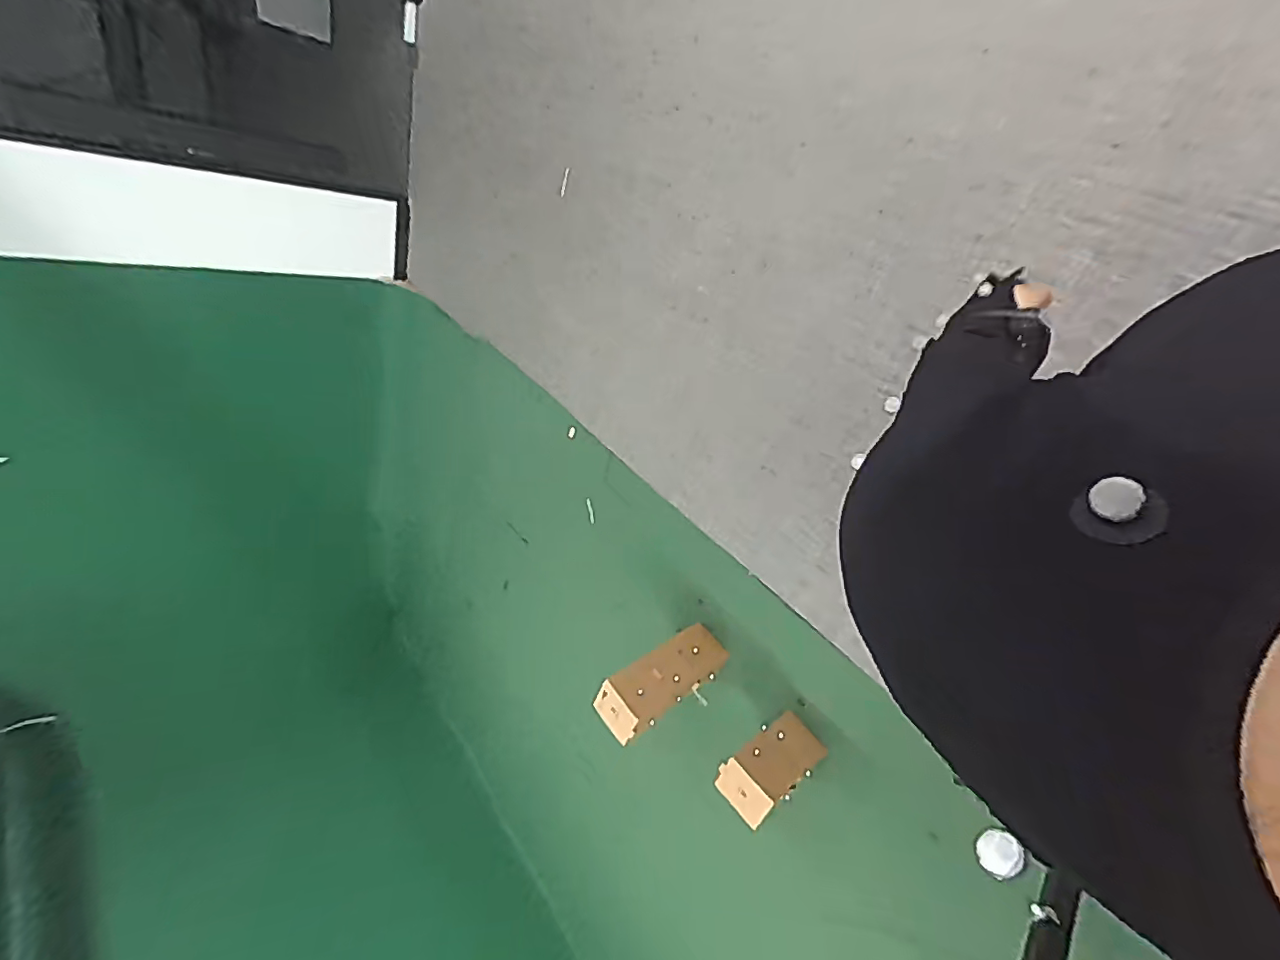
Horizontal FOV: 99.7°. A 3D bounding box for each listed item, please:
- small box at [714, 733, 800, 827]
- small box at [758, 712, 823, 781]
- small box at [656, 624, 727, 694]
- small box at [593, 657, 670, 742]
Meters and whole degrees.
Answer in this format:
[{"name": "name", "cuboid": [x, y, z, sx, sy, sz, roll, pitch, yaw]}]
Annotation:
[{"name": "small box", "cuboid": [0.373, 0.943, 1.723, 0.179, 0.176, 0.168, 39, 127, 32]}, {"name": "small box", "cuboid": [0.483, 0.922, 1.840, 0.179, 0.176, 0.168, 47, 130, 27]}, {"name": "small box", "cuboid": [0.199, 0.677, 2.074, 0.179, 0.176, 0.168, 45, 129, 29]}, {"name": "small box", "cuboid": [-0.027, 0.744, 1.846, 0.179, 0.176, 0.168, 44, 129, 29]}]
